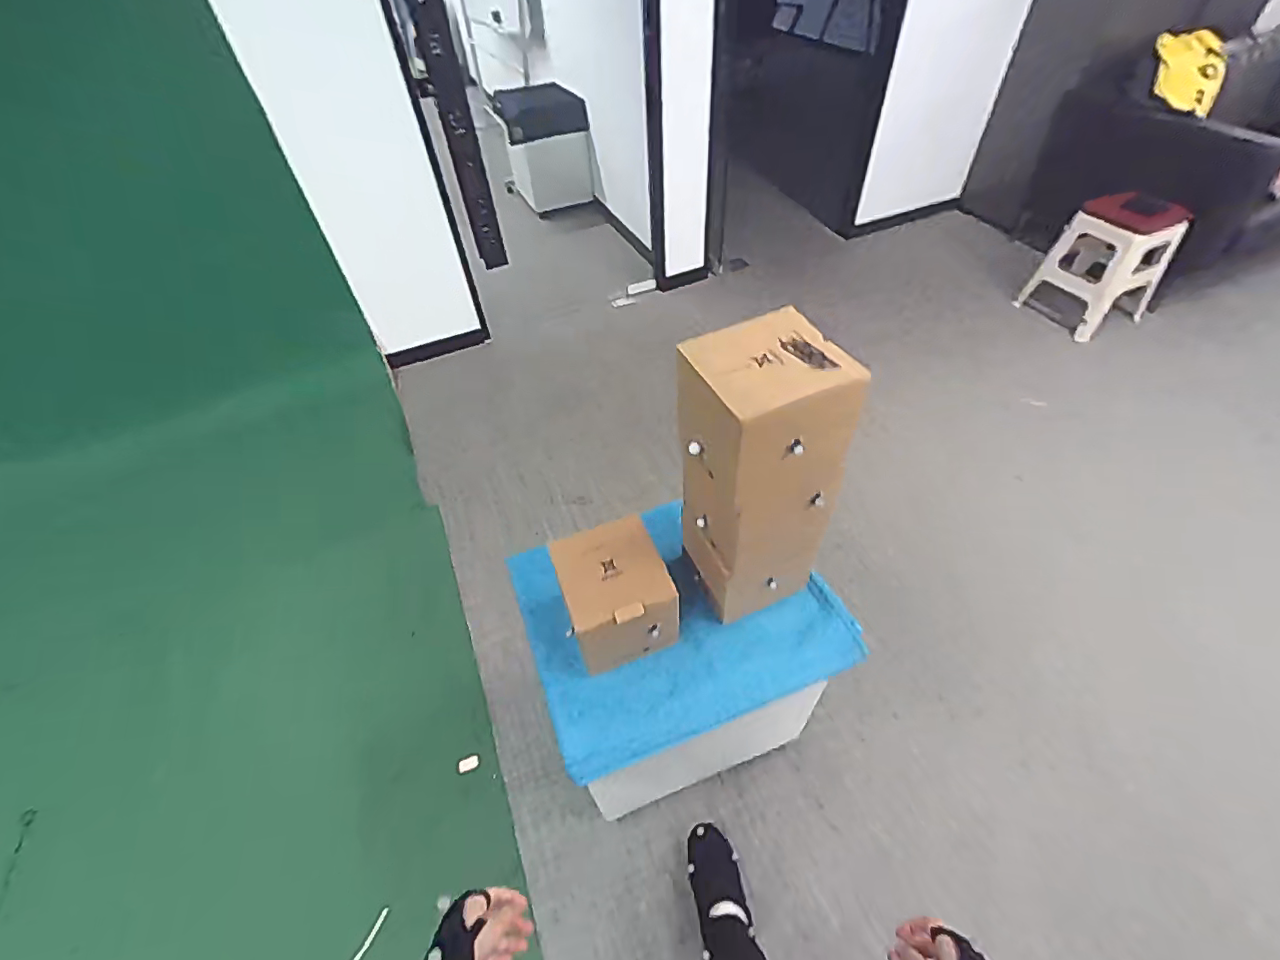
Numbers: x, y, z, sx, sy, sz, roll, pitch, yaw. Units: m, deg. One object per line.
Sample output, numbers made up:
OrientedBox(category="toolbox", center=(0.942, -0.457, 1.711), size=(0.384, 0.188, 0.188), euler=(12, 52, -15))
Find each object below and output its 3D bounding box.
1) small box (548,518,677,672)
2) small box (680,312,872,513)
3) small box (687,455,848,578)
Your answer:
OrientedBox(category="small box", center=(-0.043, 0.198, 0.907), size=(0.168, 0.176, 0.179), euler=(-16, 48, -13))
OrientedBox(category="small box", center=(0.162, -0.087, 0.707), size=(0.179, 0.176, 0.168), euler=(-20, 49, -12))
OrientedBox(category="small box", center=(0.181, 0.019, 0.830), size=(0.179, 0.176, 0.168), euler=(-20, 49, -13))
